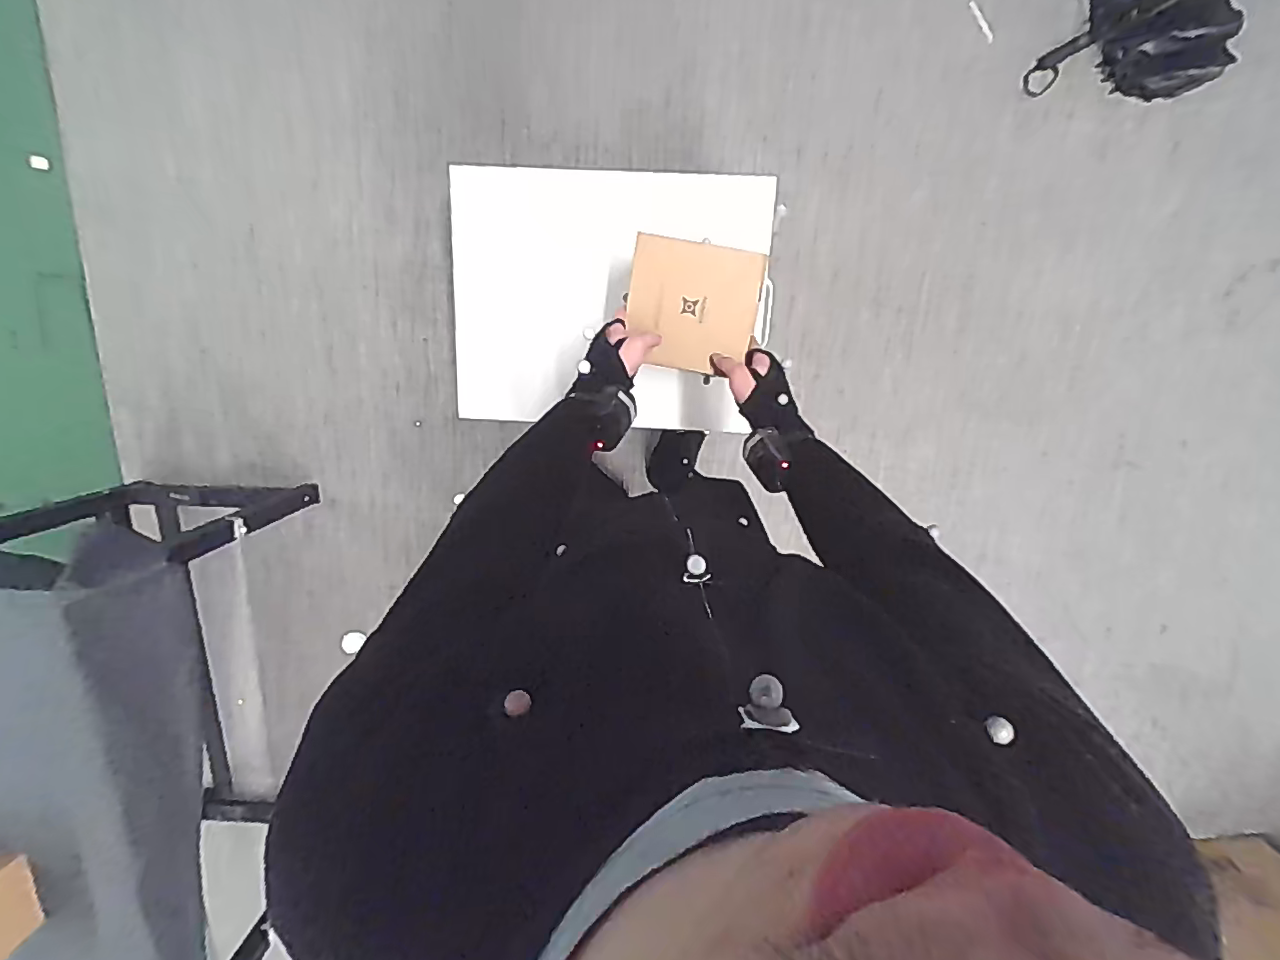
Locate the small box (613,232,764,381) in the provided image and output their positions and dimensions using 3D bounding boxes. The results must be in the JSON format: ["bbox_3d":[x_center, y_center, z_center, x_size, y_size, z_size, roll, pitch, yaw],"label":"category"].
[{"bbox_3d":[0.065,-0.243,0.789,0.179,0.176,0.168,10,101,1],"label":"small box"}]

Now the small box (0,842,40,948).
[{"bbox_3d":[-1.291,0.812,1.005,0.168,0.176,0.179,3,104,2],"label":"small box"}]
